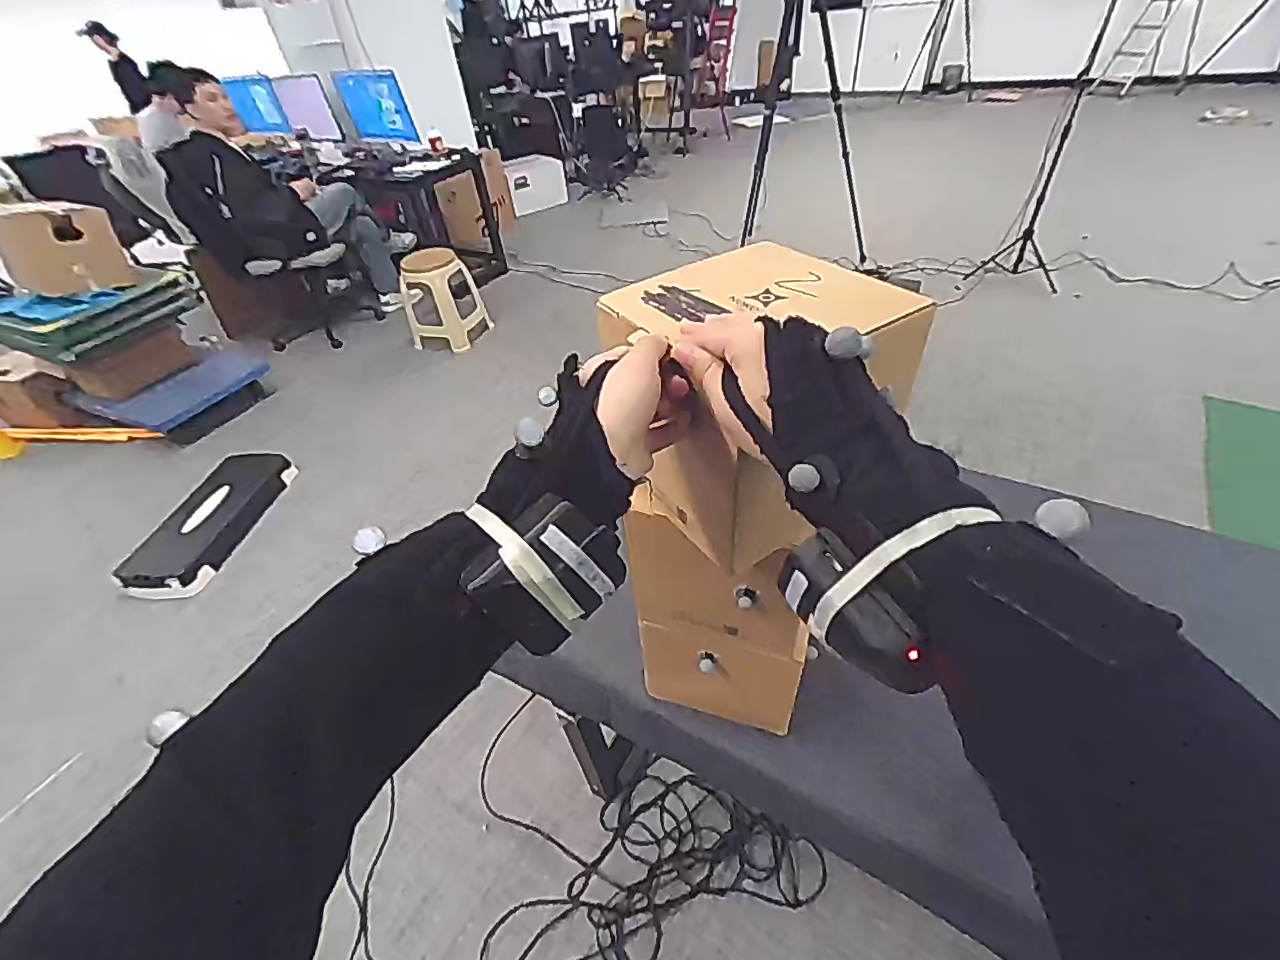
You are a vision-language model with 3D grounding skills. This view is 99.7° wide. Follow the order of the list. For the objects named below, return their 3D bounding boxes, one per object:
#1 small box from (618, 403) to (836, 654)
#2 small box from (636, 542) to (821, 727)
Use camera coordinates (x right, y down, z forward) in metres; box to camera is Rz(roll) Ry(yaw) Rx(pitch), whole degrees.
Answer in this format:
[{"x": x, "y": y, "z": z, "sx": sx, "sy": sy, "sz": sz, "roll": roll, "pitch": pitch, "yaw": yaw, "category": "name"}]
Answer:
[{"x": 0.093, "y": 0.046, "z": 0.554, "sx": 0.168, "sy": 0.176, "sz": 0.179, "roll": 12, "pitch": 43, "yaw": 19, "category": "small box"}, {"x": 0.110, "y": 0.172, "z": 0.656, "sx": 0.179, "sy": 0.176, "sz": 0.168, "roll": 10, "pitch": 44, "yaw": 18, "category": "small box"}]
